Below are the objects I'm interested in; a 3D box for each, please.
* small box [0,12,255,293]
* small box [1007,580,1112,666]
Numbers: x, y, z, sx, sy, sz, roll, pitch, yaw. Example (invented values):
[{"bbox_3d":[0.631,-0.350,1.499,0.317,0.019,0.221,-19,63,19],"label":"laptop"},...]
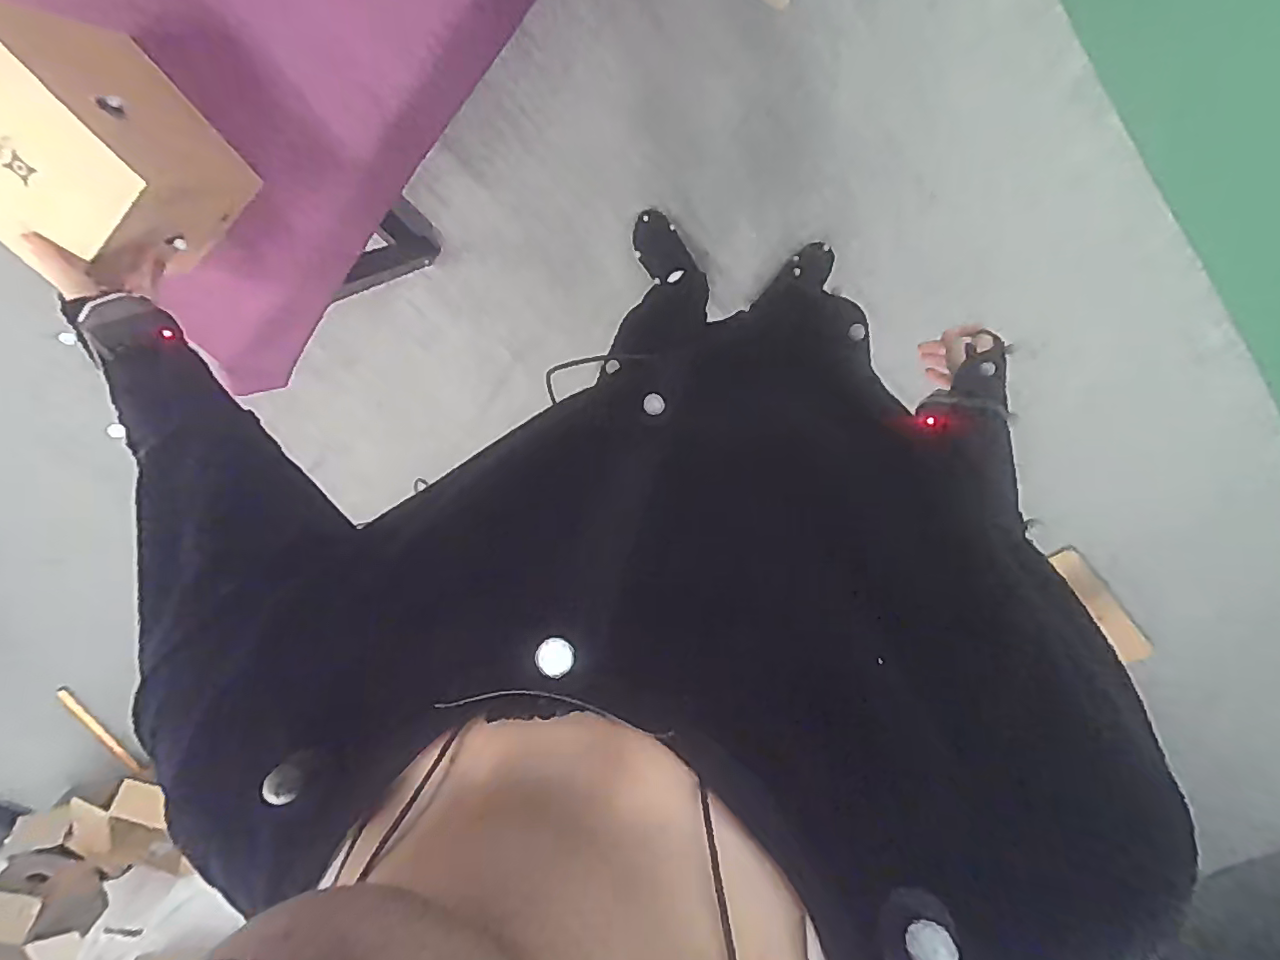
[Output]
[{"bbox_3d":[-0.552,-0.325,0.548,0.168,0.176,0.179,-32,113,18],"label":"small box"},{"bbox_3d":[1.307,0.442,1.698,0.179,0.176,0.168,39,115,-18],"label":"small box"}]
